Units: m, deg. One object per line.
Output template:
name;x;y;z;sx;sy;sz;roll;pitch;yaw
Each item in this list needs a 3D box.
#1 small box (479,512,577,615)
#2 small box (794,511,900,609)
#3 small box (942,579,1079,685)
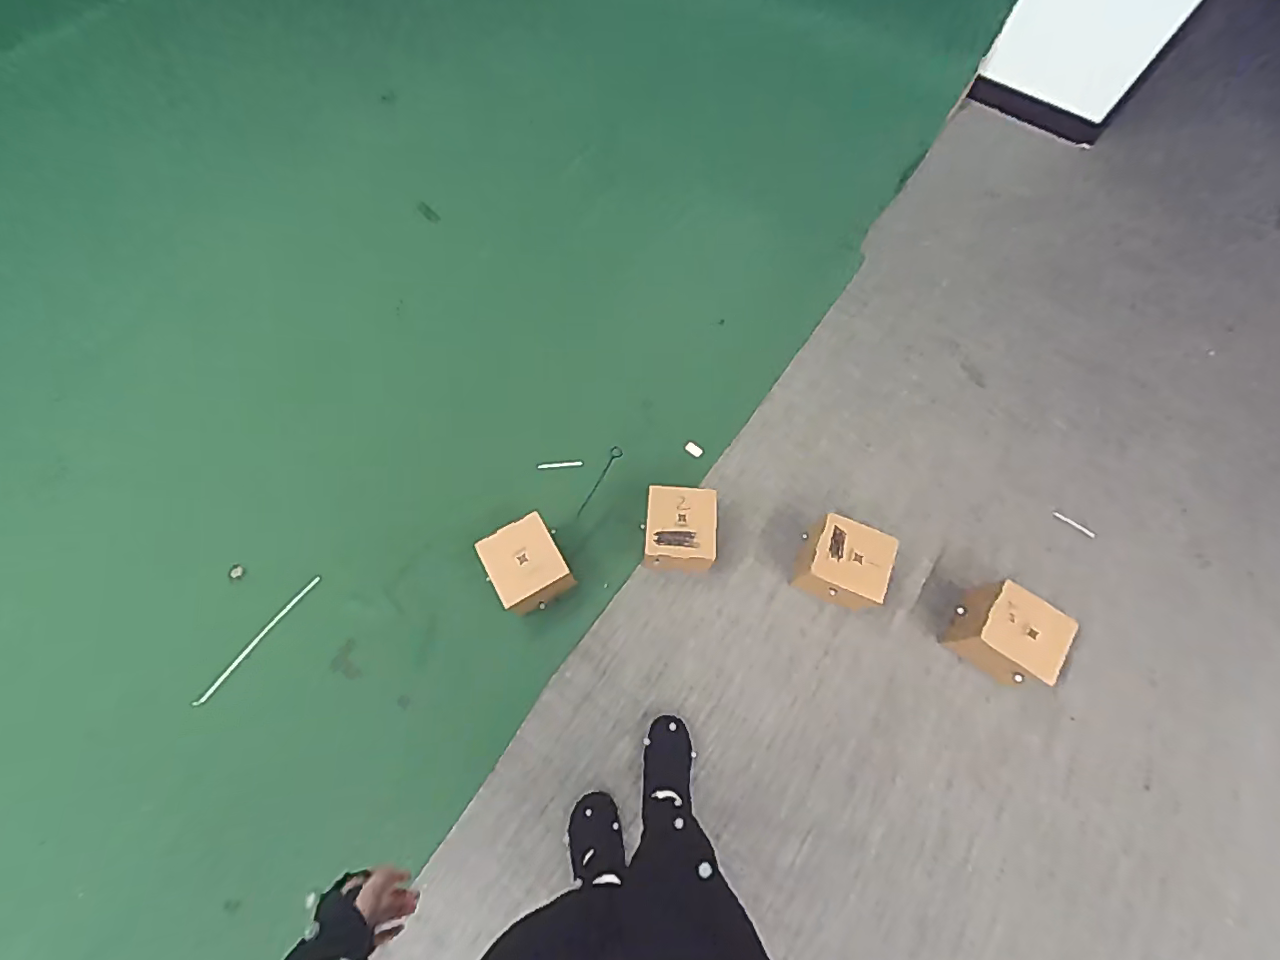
small box;-0.268;0.209;1.325;0.168;0.176;0.179;-28;72;-11
small box;0.499;0.204;1.329;0.179;0.176;0.168;23;71;7
small box;0.861;0.359;1.272;0.179;0.176;0.168;35;72;12
